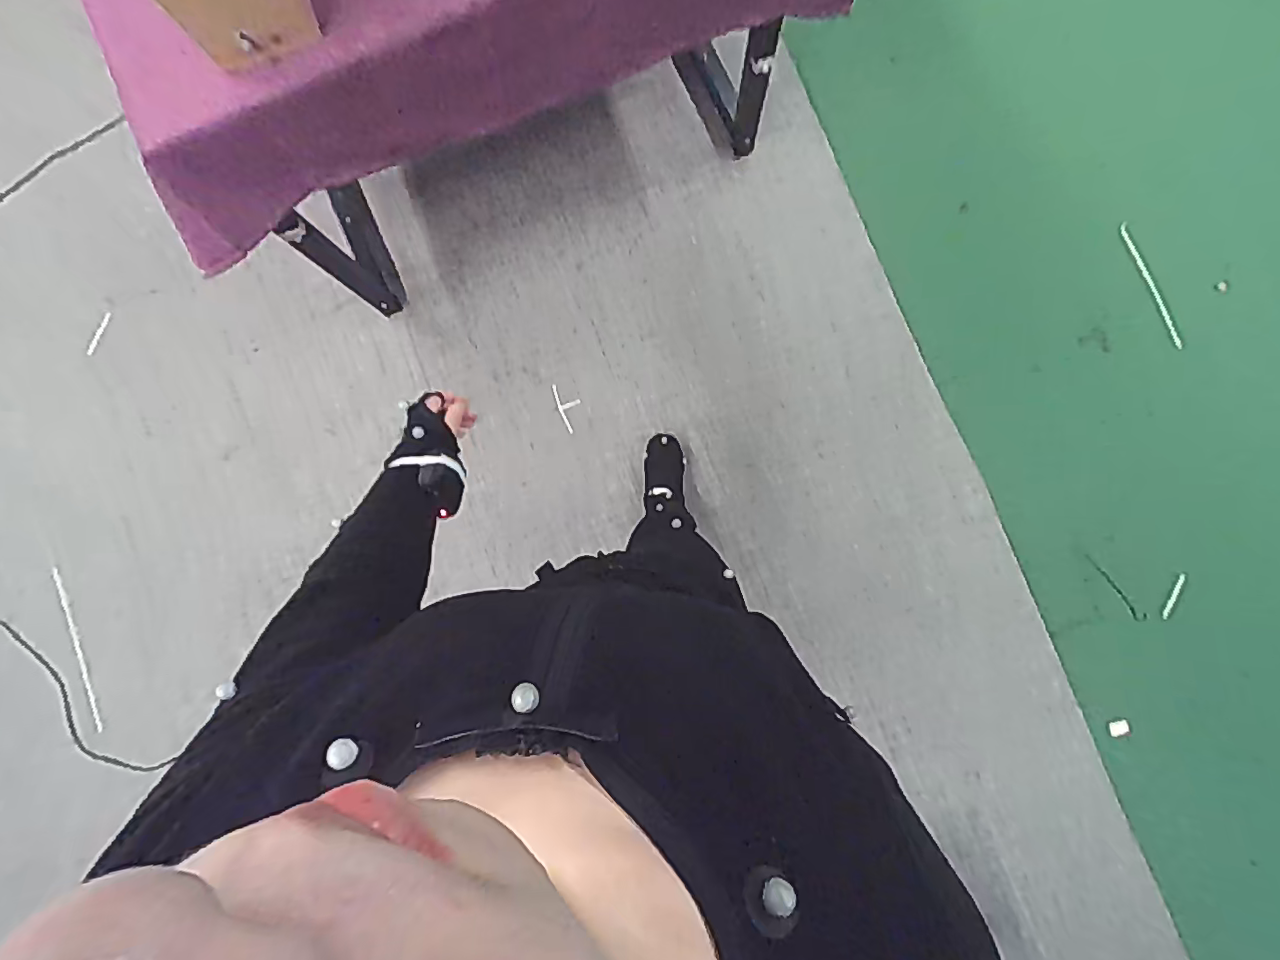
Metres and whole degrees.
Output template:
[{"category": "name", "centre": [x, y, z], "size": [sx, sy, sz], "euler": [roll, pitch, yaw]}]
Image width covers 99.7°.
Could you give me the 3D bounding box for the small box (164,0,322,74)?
[{"category": "small box", "centre": [-0.606, -0.755, 0.788], "size": [0.168, 0.176, 0.179], "euler": [-19, 85, 1]}]
